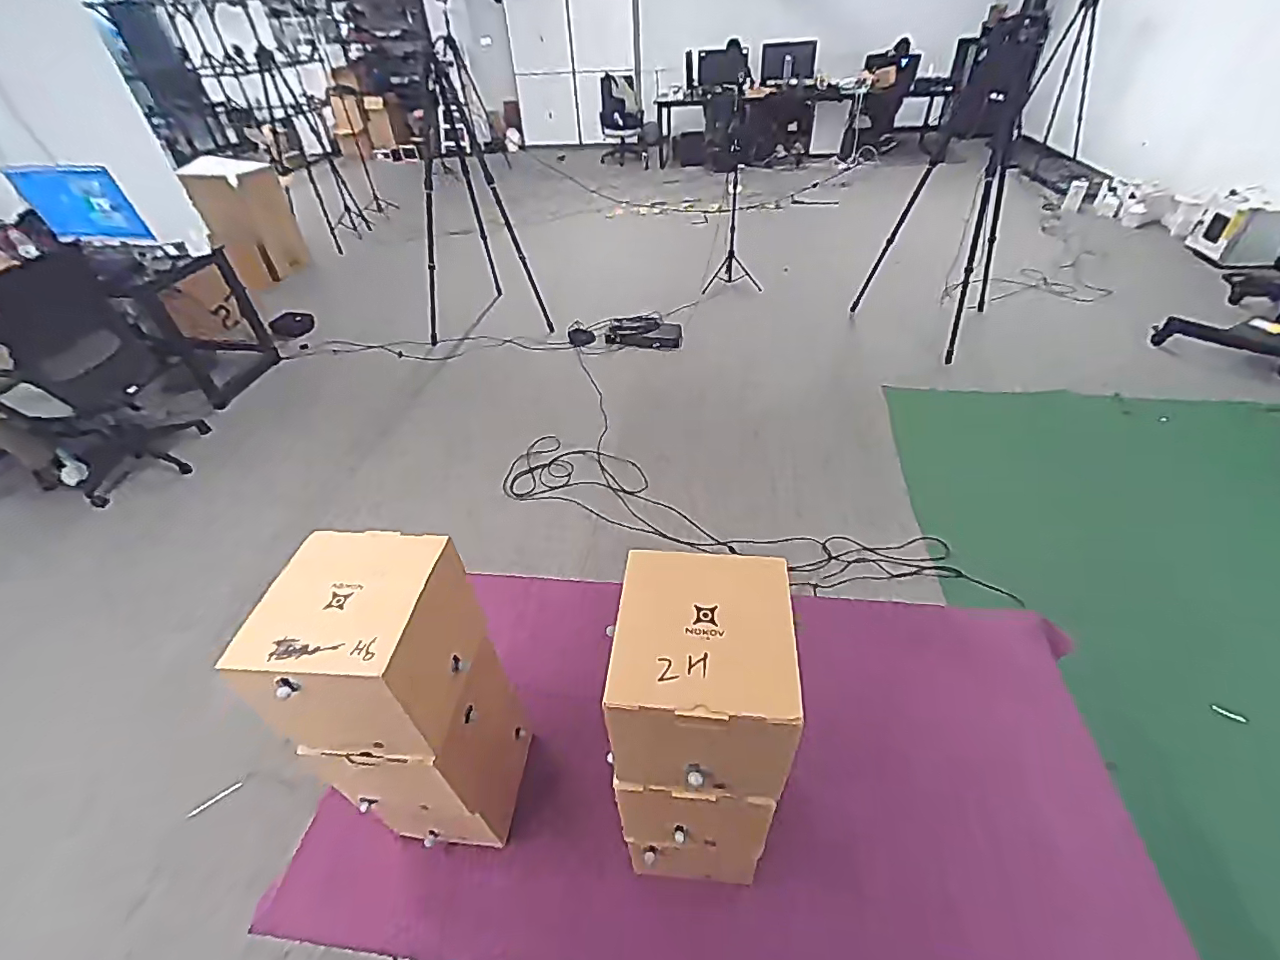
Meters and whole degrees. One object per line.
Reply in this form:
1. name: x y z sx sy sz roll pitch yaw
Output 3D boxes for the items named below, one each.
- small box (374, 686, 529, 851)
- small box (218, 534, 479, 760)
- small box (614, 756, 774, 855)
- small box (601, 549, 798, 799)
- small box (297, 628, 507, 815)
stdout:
1. small box: -0.276 0.428 0.816 0.168 0.176 0.179 1 42 7
2. small box: -0.296 0.181 0.600 0.168 0.176 0.179 0 40 7
3. small box: 0.066 0.322 0.658 0.168 0.176 0.179 2 42 7
4. small box: 0.061 0.194 0.555 0.168 0.176 0.179 2 41 8
5. small box: -0.287 0.310 0.703 0.168 0.176 0.179 1 40 7
